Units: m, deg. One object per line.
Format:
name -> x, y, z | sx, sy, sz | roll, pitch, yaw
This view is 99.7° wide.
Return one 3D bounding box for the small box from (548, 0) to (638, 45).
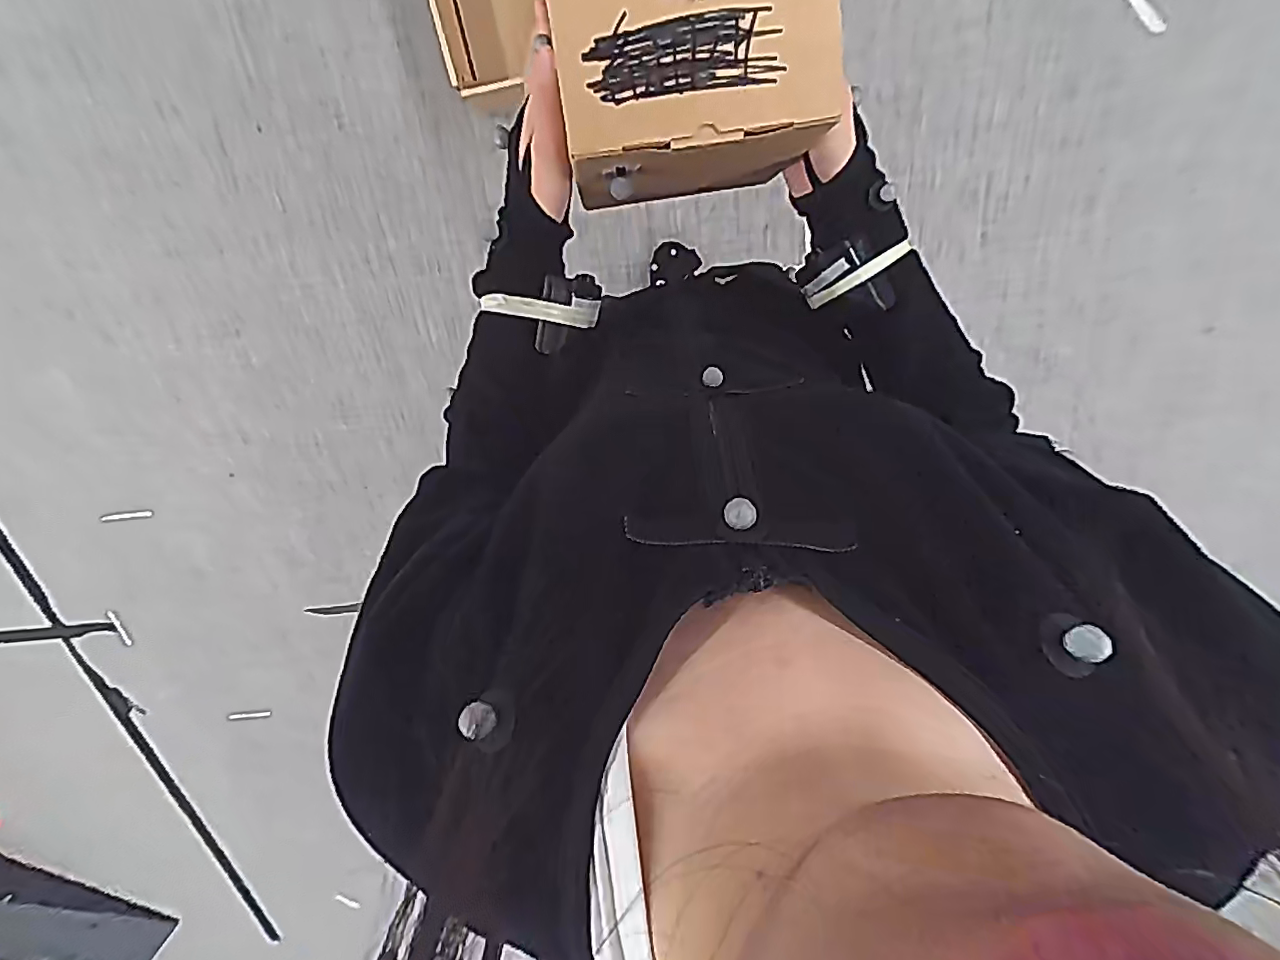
small box -> -0.104, -0.971, 1.016 | 0.168, 0.176, 0.179 | -14, 113, 7
